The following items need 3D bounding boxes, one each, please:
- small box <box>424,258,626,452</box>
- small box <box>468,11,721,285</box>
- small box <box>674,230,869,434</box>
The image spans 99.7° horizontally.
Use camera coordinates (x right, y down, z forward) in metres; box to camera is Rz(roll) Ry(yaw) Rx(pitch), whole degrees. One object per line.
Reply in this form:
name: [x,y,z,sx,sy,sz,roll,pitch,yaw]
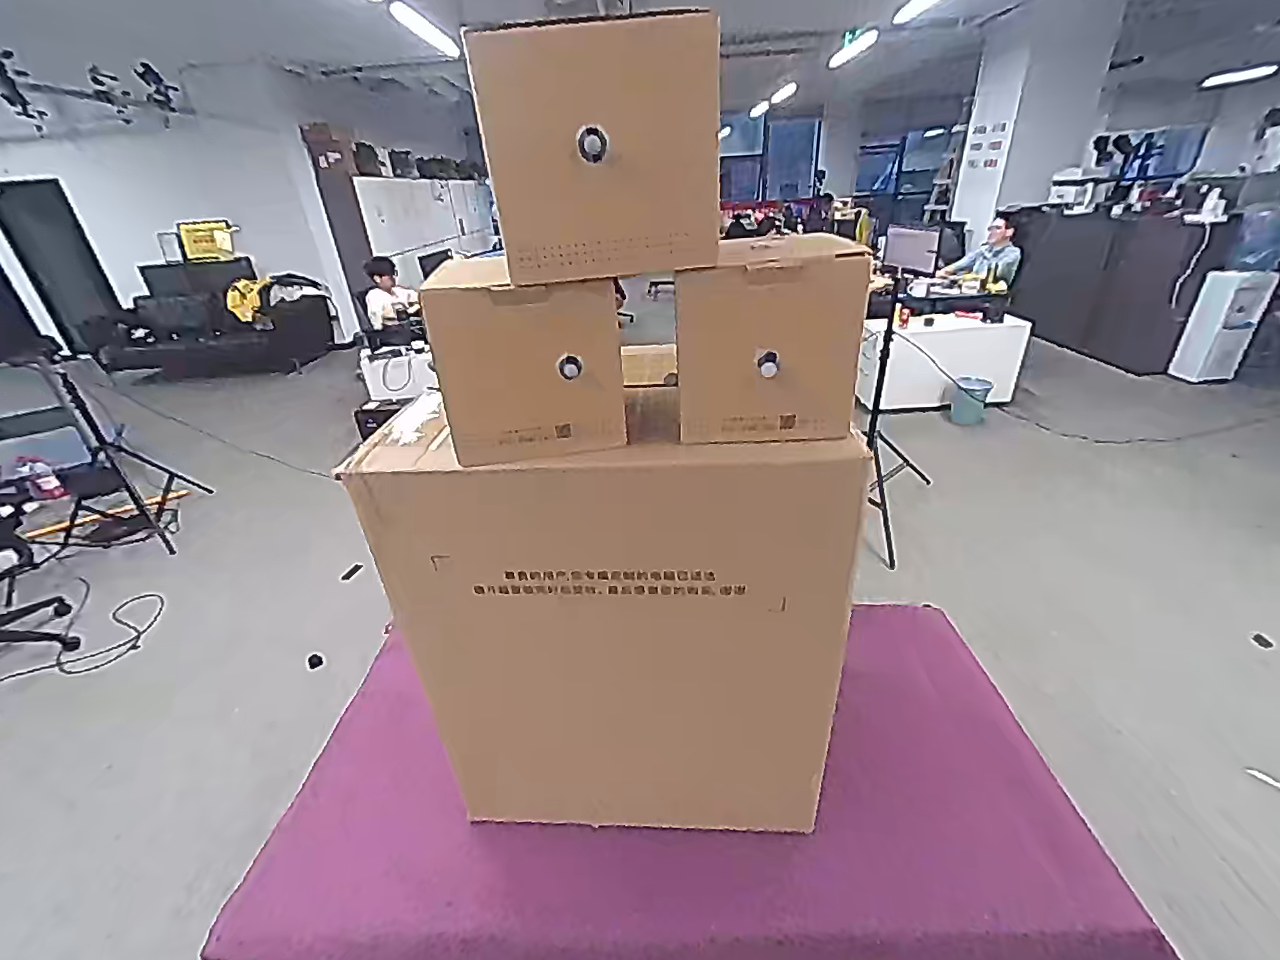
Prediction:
small box: [-0.109,-0.136,0.568,0.168,0.176,0.179,-6,29,-7]
small box: [-0.030,-0.280,0.476,0.179,0.176,0.168,-7,30,-1]
small box: [0.123,-0.154,0.565,0.168,0.176,0.179,-1,30,5]
